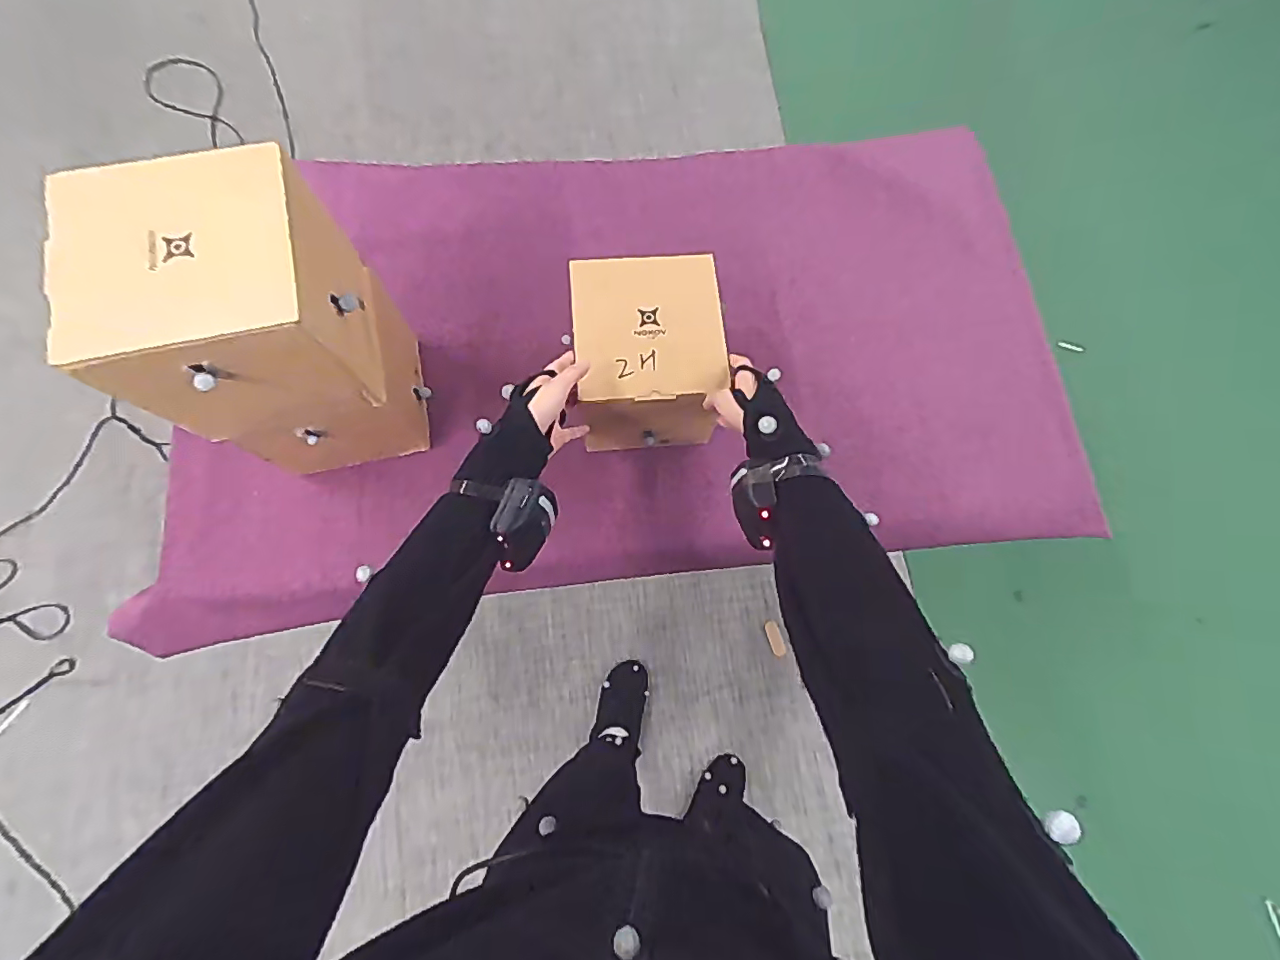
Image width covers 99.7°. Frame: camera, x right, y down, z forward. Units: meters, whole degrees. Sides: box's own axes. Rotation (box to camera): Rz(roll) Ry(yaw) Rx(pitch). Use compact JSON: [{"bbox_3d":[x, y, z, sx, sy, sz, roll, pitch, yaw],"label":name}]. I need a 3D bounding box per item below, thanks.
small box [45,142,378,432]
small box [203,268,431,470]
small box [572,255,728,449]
[{"bbox_3d":[-0.356,-0.157,0.485,0.179,0.176,0.168,-13,78,-5],"label":"small box"},{"bbox_3d":[-0.370,-0.120,0.642,0.179,0.176,0.168,-11,77,-6],"label":"small box"},{"bbox_3d":[0.004,-0.149,0.666,0.168,0.176,0.179,-3,75,-3],"label":"small box"}]
